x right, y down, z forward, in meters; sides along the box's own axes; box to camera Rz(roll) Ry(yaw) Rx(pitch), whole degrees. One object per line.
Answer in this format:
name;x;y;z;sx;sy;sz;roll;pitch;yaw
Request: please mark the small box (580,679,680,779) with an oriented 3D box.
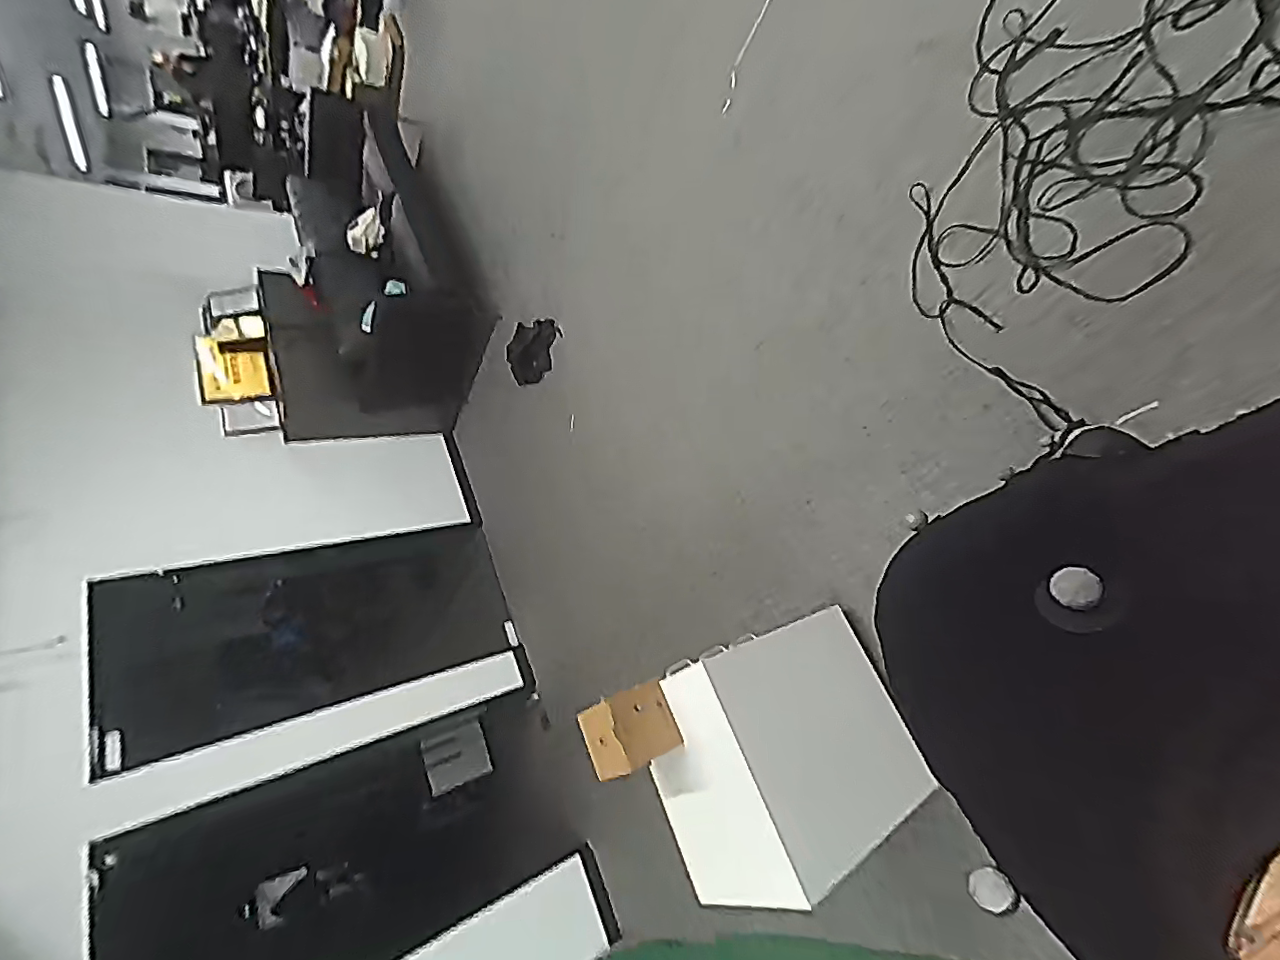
small box;-0.021;0.624;1.362;0.179;0.176;0.168;-49;57;45
